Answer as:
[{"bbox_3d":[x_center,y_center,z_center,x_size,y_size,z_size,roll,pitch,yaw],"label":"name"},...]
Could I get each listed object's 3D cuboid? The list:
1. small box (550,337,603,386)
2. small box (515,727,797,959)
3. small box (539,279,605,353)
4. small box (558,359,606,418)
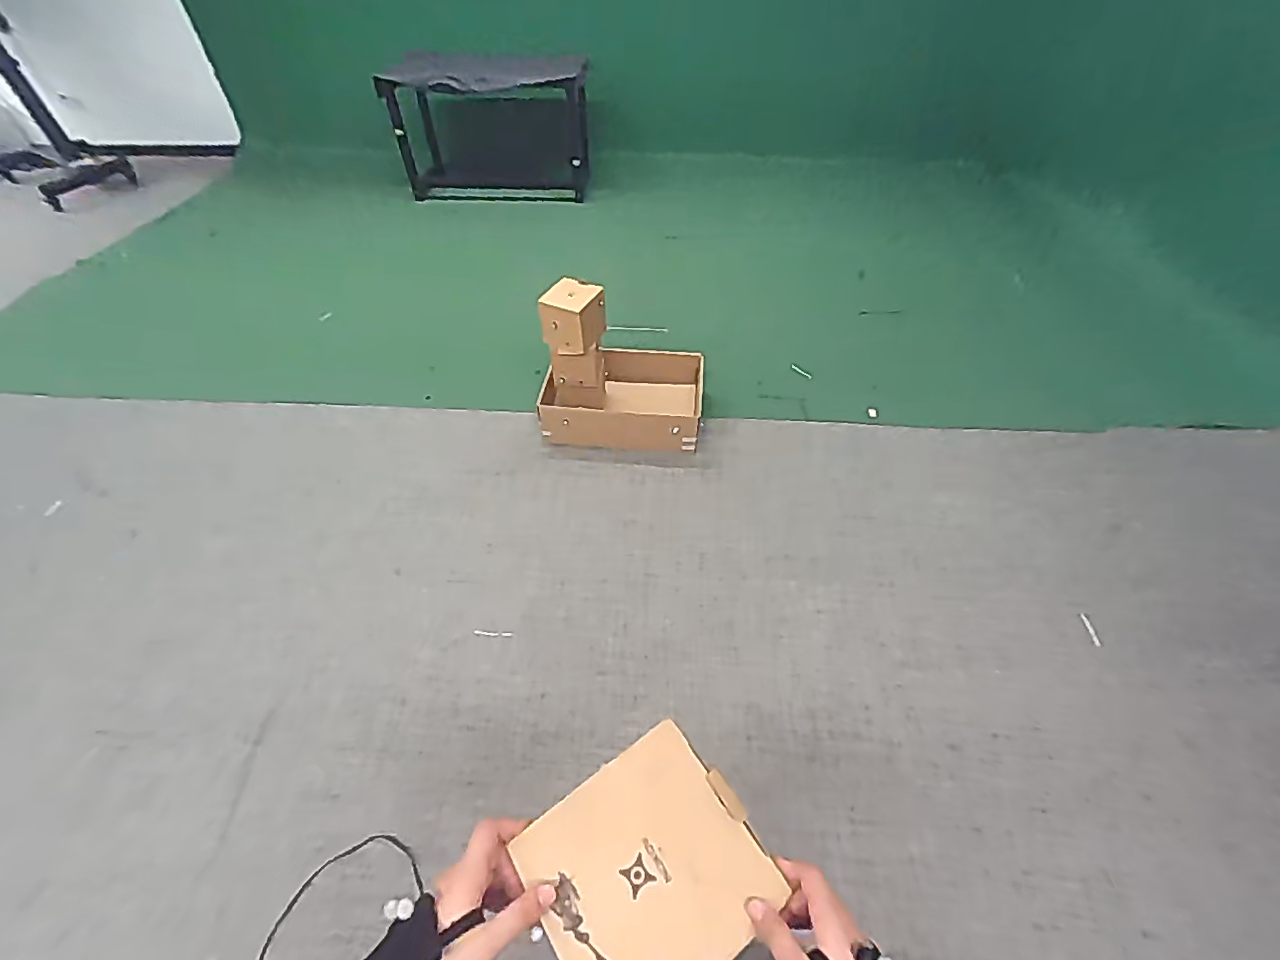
[{"bbox_3d":[-0.231,-0.470,2.025,0.168,0.176,0.179,4,48,2],"label":"small box"},{"bbox_3d":[0.010,0.367,0.502,0.179,0.176,0.168,-30,60,-20],"label":"small box"},{"bbox_3d":[-0.229,-0.574,1.899,0.168,0.176,0.179,21,51,17],"label":"small box"},{"bbox_3d":[-0.225,-0.368,2.154,0.168,0.176,0.179,2,48,2],"label":"small box"}]
